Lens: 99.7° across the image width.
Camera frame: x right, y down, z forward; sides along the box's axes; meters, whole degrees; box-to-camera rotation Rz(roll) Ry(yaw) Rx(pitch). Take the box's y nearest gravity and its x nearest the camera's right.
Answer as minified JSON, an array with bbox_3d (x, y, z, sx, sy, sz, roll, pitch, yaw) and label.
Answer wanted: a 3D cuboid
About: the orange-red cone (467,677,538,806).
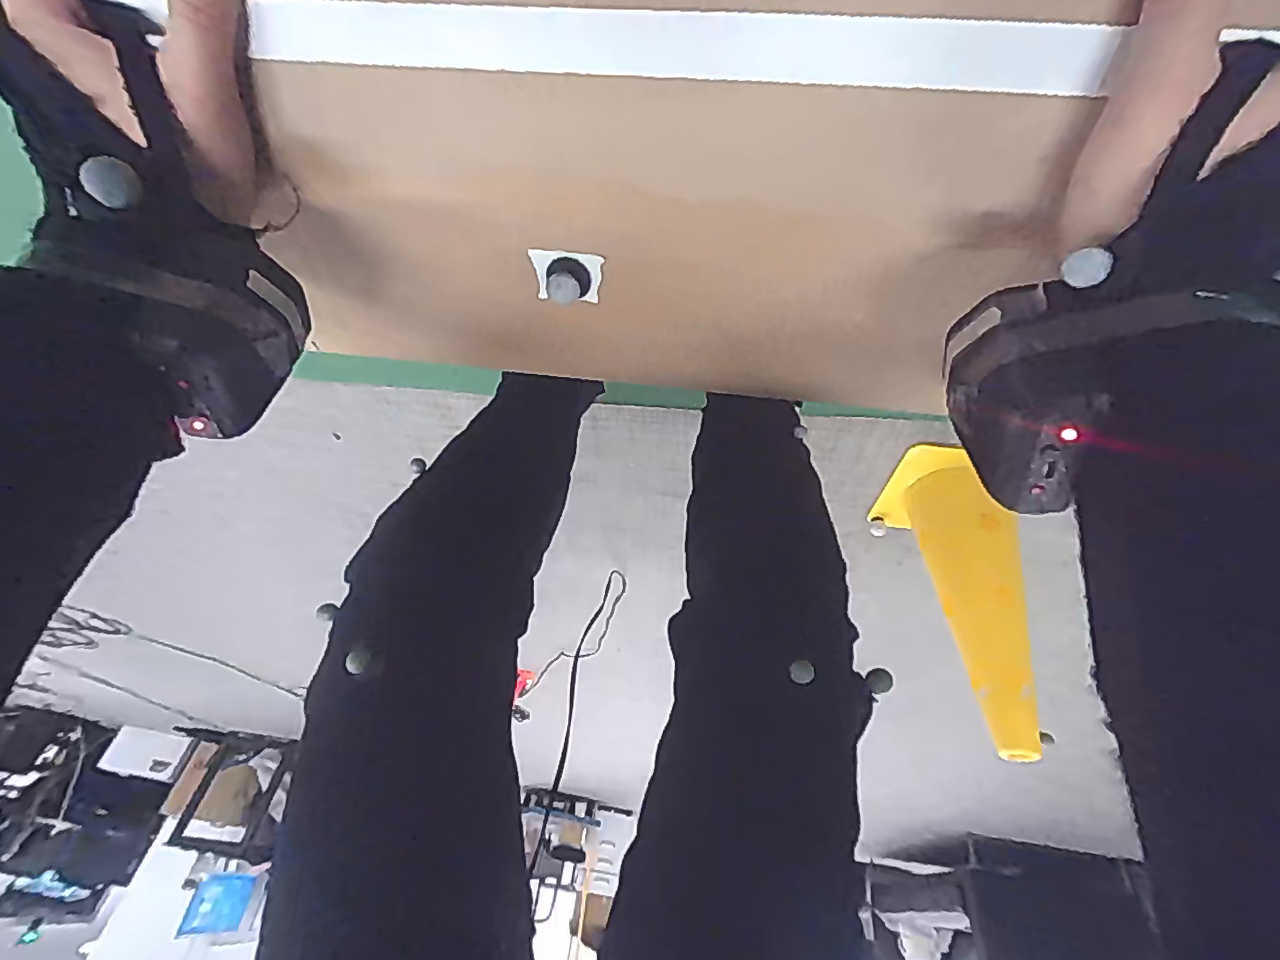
[{"bbox_3d":[-0.488,0.860,1.767,0.199,0.360,0.198,18,140,-7],"label":"orange-red cone"}]

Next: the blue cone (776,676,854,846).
[{"bbox_3d":[0.455,0.708,1.385,0.192,0.380,0.193,4,142,7],"label":"blue cone"}]
